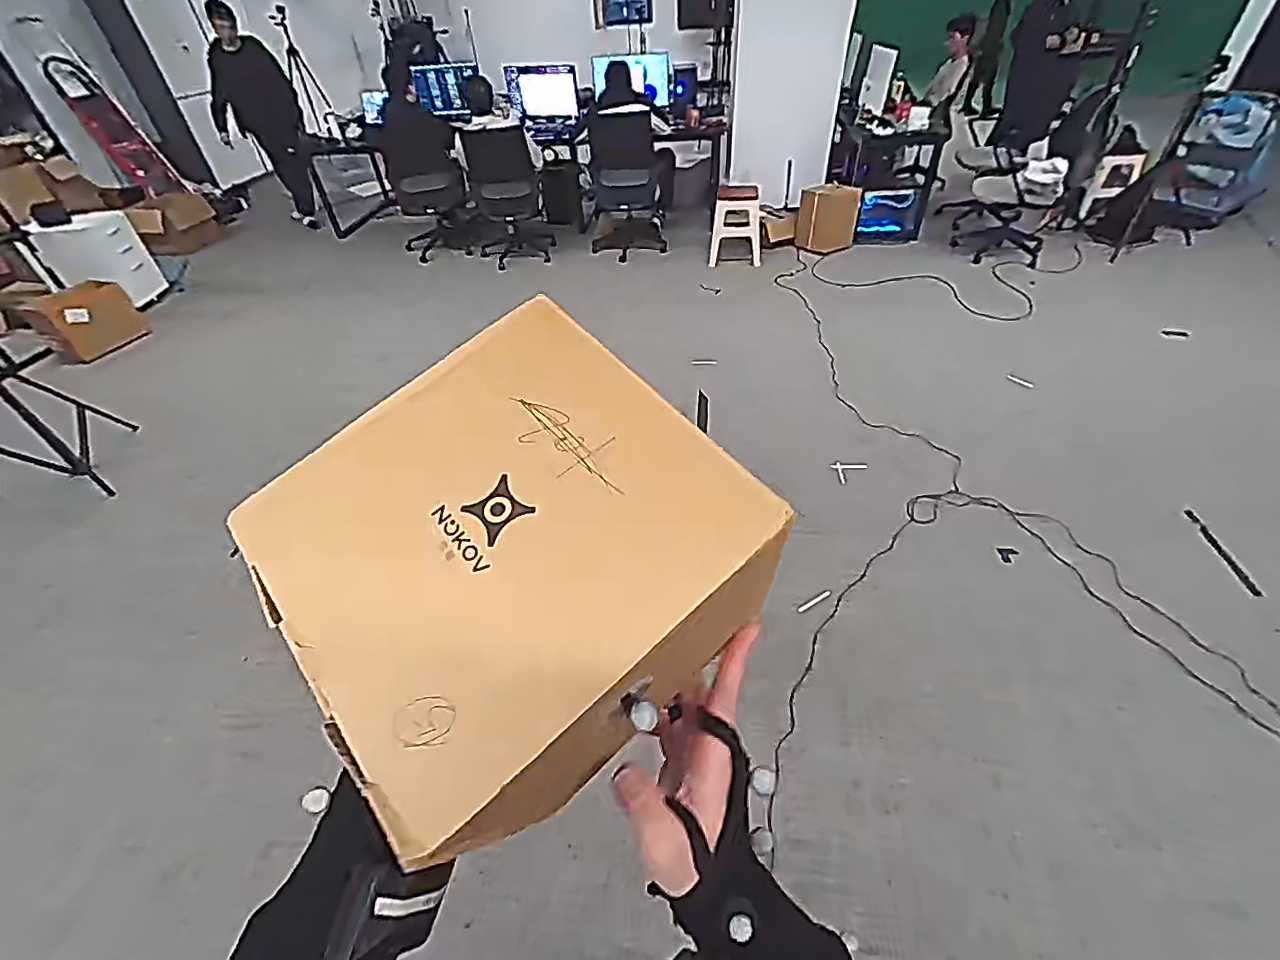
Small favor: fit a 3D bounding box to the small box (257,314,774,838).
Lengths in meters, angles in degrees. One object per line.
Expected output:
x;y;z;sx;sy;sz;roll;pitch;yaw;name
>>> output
-0.049;0.053;0.303;0.179;0.176;0.168;-41;67;-14;small box
